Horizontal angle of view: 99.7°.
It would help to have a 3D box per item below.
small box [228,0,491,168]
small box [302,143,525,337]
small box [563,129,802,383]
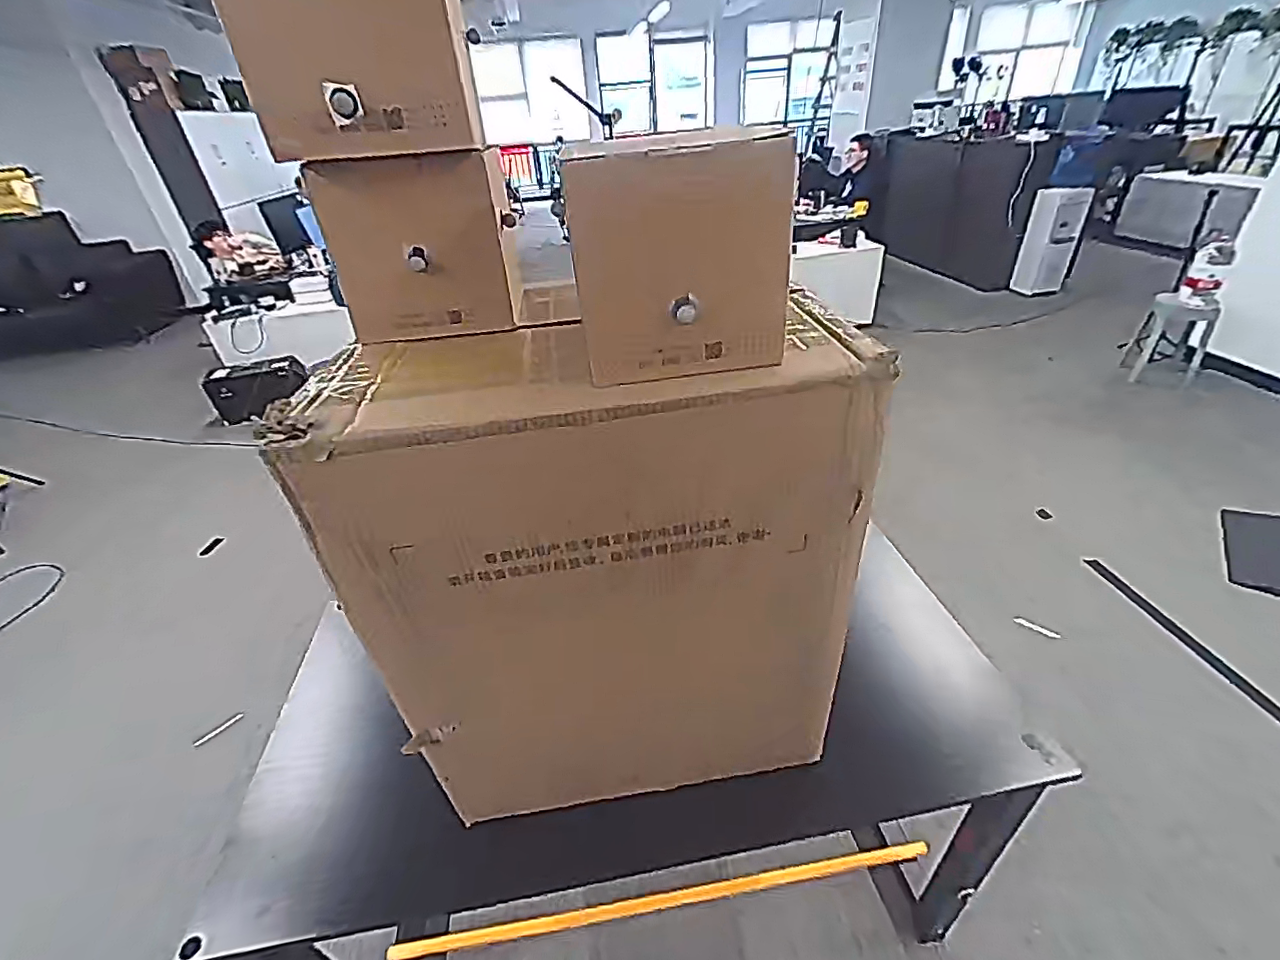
[{"bbox_3d":[-0.233,-0.378,0.475,0.168,0.176,0.179,-10,35,-7],"label":"small box"},{"bbox_3d":[-0.224,-0.262,0.594,0.168,0.176,0.179,-7,34,-5],"label":"small box"},{"bbox_3d":[0.029,-0.201,0.476,0.168,0.176,0.179,-8,35,-1],"label":"small box"}]
